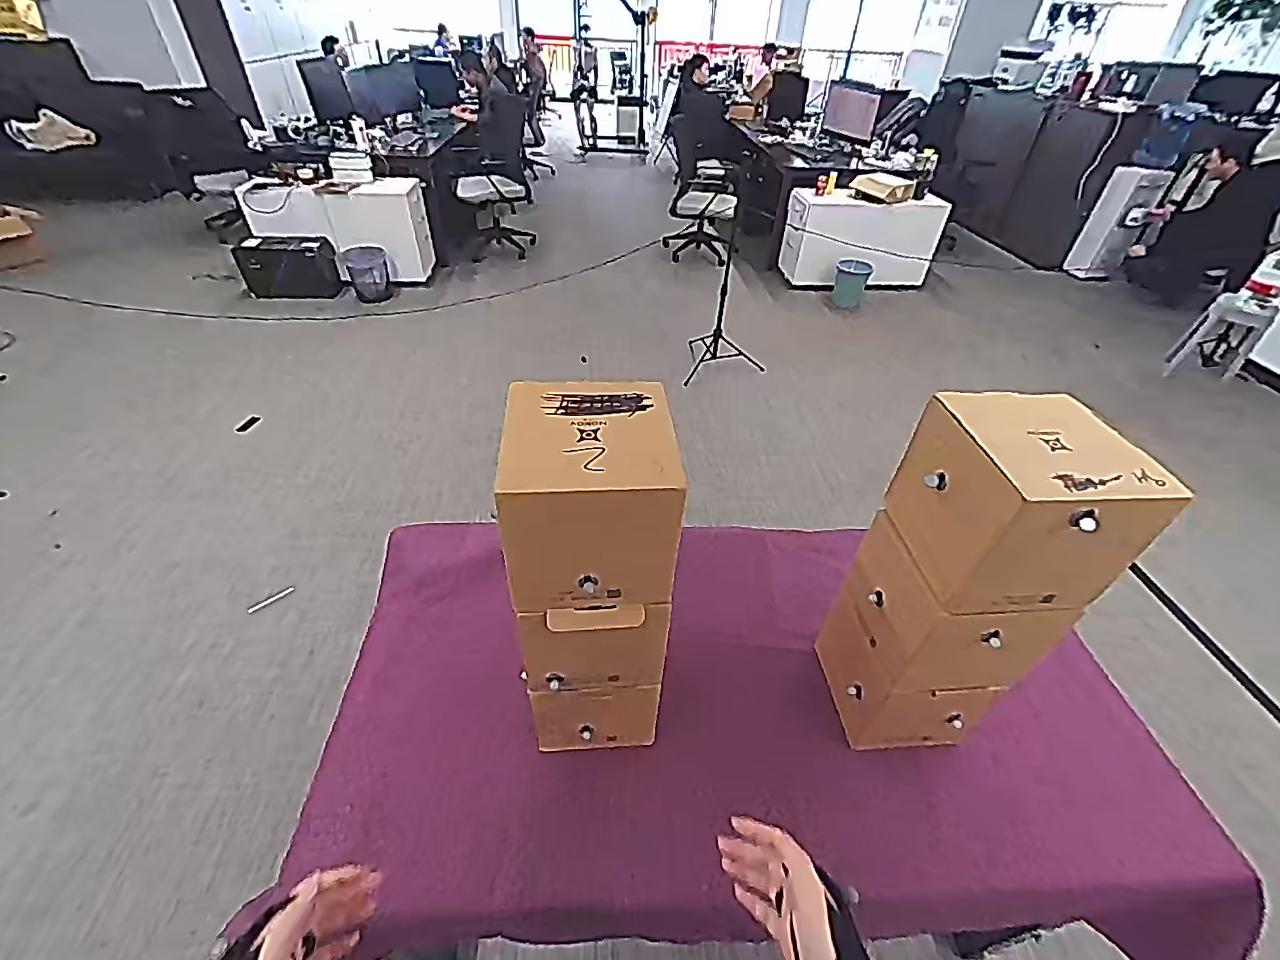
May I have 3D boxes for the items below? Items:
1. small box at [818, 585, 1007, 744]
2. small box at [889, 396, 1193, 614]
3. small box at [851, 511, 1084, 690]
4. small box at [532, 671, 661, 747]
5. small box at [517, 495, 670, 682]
[{"bbox_3d":[0.385,0.275,0.802,0.168,0.176,0.179,0,41,-5],"label":"small box"},{"bbox_3d":[0.403,0.025,0.590,0.168,0.176,0.179,-1,41,-5],"label":"small box"},{"bbox_3d":[0.392,0.153,0.692,0.179,0.176,0.168,-1,42,-6],"label":"small box"},{"bbox_3d":[-0.064,0.263,0.788,0.168,0.176,0.179,-1,42,-5],"label":"small box"},{"bbox_3d":[-0.058,0.139,0.681,0.168,0.176,0.179,-2,41,-6],"label":"small box"}]
